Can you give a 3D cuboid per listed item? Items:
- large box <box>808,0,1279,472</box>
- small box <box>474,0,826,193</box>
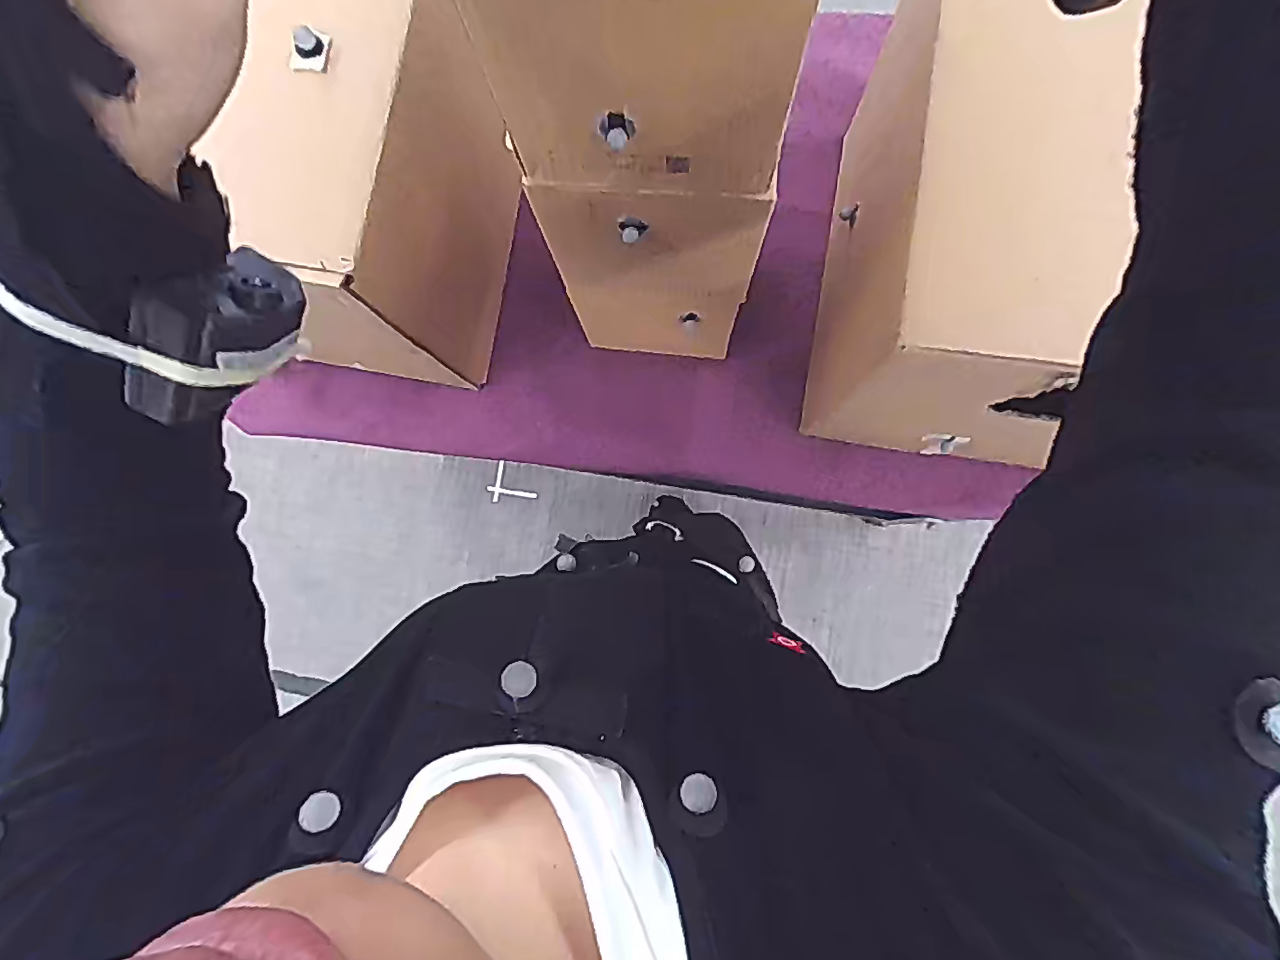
[{"bbox_3d":[0.365,-0.238,0.518,0.320,0.320,0.408,9,84,5],"label":"large box"},{"bbox_3d":[0.008,-0.289,0.287,0.168,0.176,0.179,4,85,4],"label":"small box"}]
